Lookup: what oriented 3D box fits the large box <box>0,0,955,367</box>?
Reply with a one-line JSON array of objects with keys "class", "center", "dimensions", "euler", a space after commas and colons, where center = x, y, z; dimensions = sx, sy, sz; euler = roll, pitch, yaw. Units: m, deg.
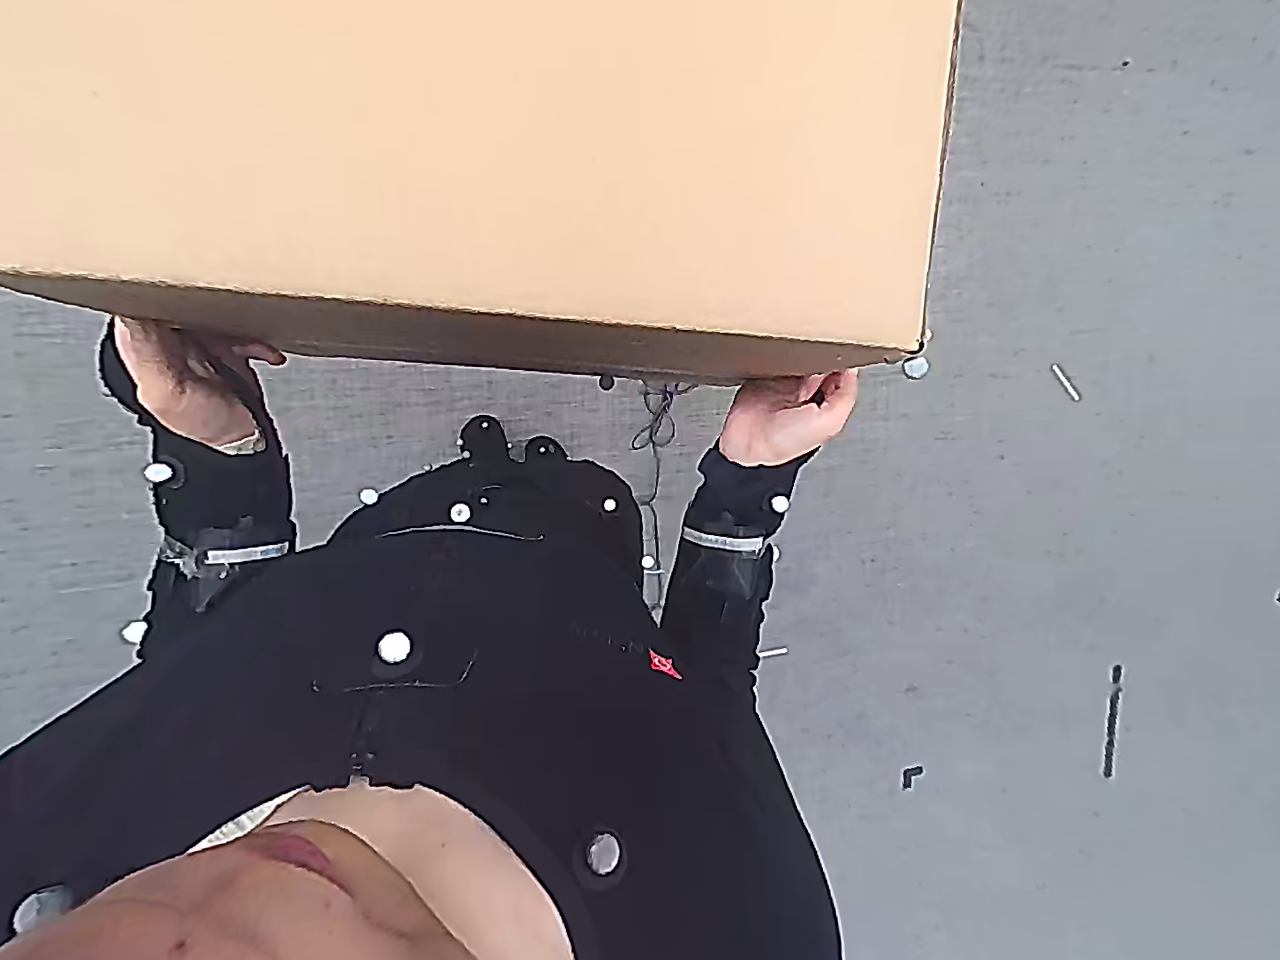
[{"class": "large box", "center": [-0.078, -0.251, 0.353], "dimensions": [0.408, 0.320, 0.320], "euler": [1, 98, -9]}]
